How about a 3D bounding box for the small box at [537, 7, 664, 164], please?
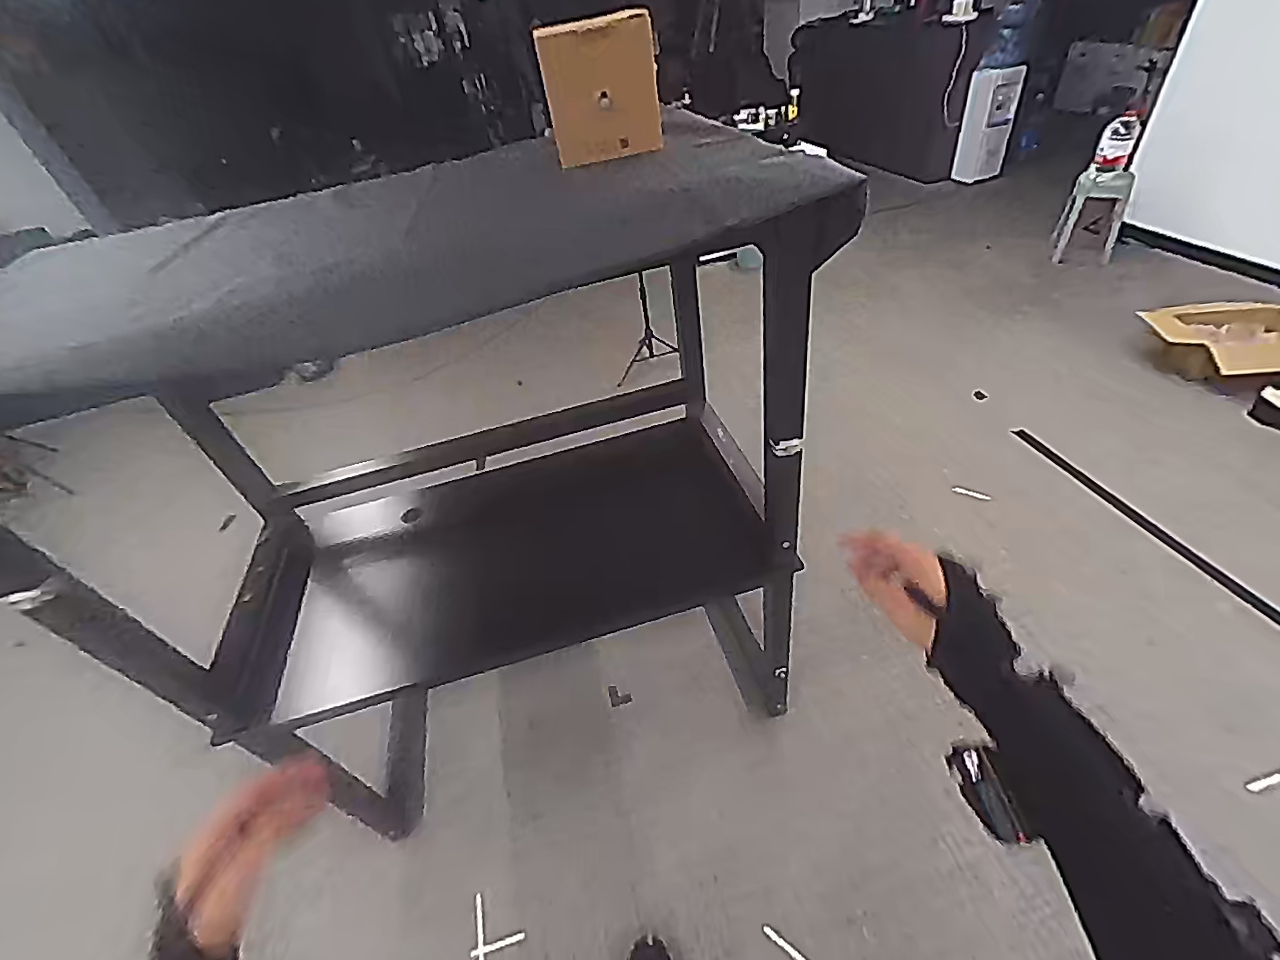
[{"bbox_3d":[-0.061,-0.623,0.861,0.168,0.176,0.179,-12,44,0],"label":"small box"}]
